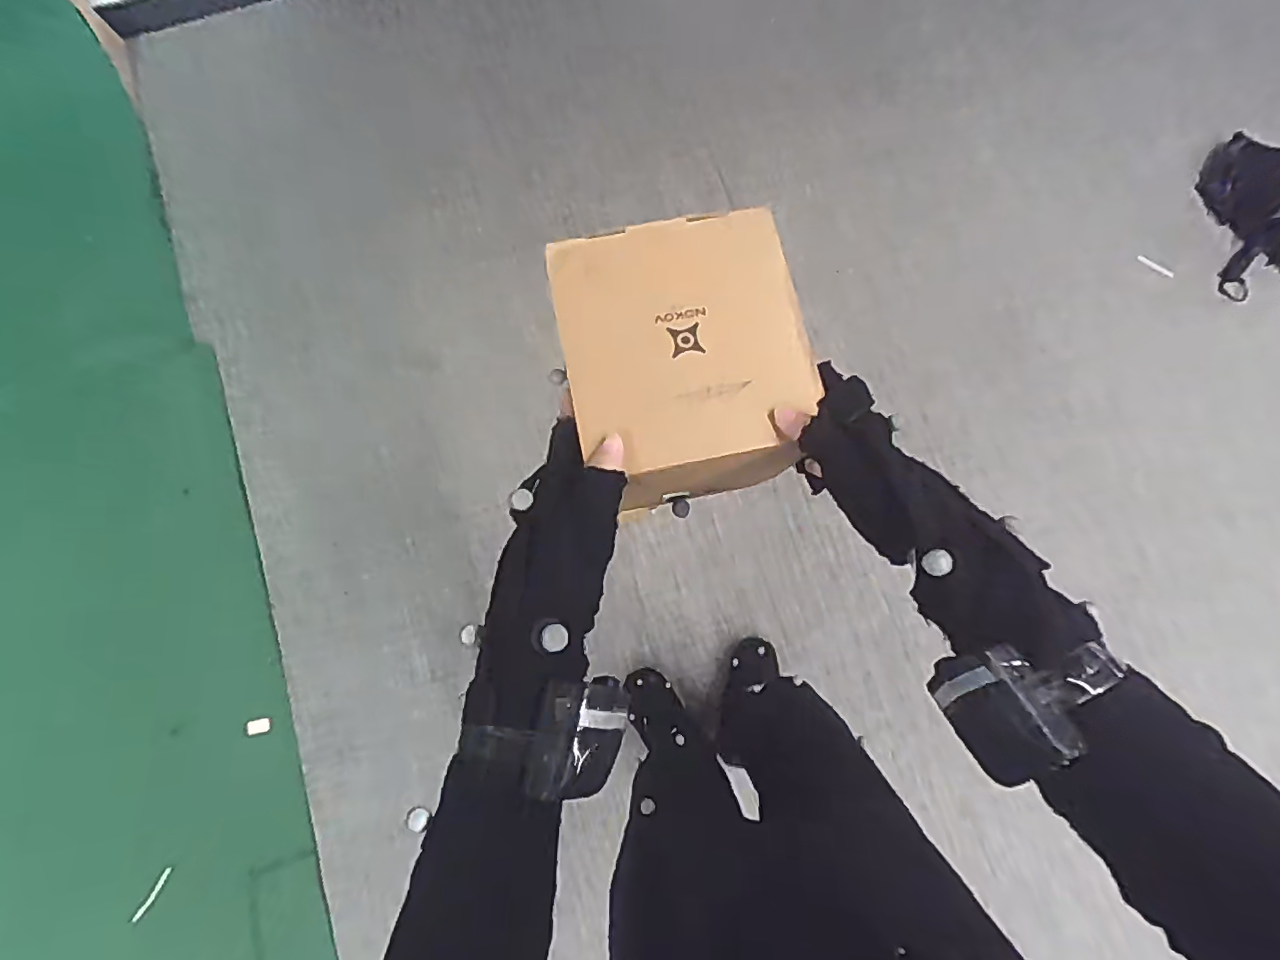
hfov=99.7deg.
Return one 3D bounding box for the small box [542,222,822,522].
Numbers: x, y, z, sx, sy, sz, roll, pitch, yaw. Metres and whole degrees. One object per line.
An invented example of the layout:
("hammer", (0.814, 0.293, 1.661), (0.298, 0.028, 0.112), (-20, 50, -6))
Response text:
("small box", (0.024, -0.073, 0.449), (0.168, 0.176, 0.179), (-12, 79, -2))
